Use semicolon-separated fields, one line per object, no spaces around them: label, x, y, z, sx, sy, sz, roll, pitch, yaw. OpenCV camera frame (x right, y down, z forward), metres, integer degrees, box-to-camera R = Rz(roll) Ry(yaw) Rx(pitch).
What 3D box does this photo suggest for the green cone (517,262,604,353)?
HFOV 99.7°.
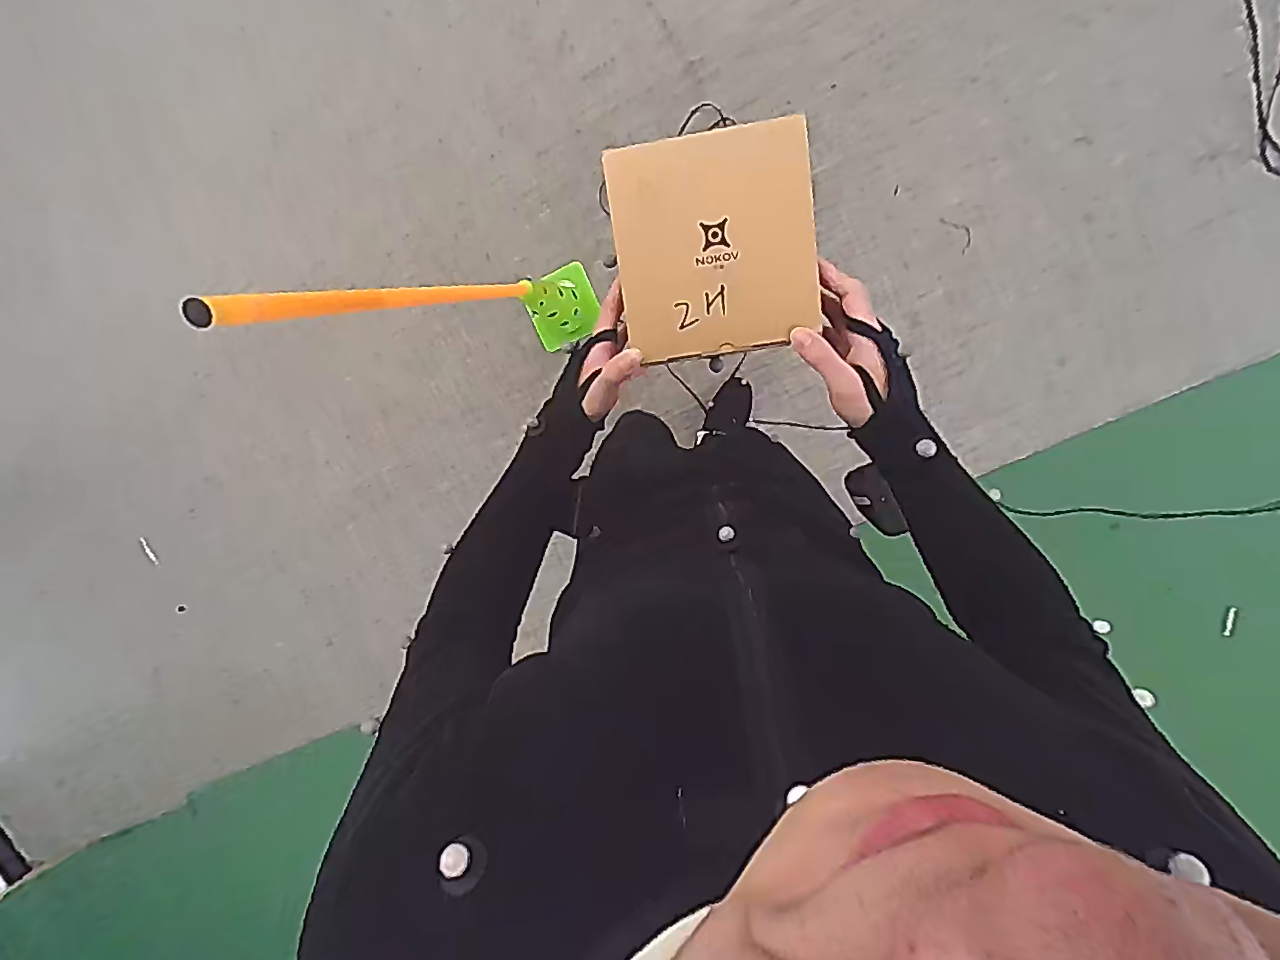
green cone;-0.238;-0.451;1.360;0.202;0.368;0.200;-23;98;9
